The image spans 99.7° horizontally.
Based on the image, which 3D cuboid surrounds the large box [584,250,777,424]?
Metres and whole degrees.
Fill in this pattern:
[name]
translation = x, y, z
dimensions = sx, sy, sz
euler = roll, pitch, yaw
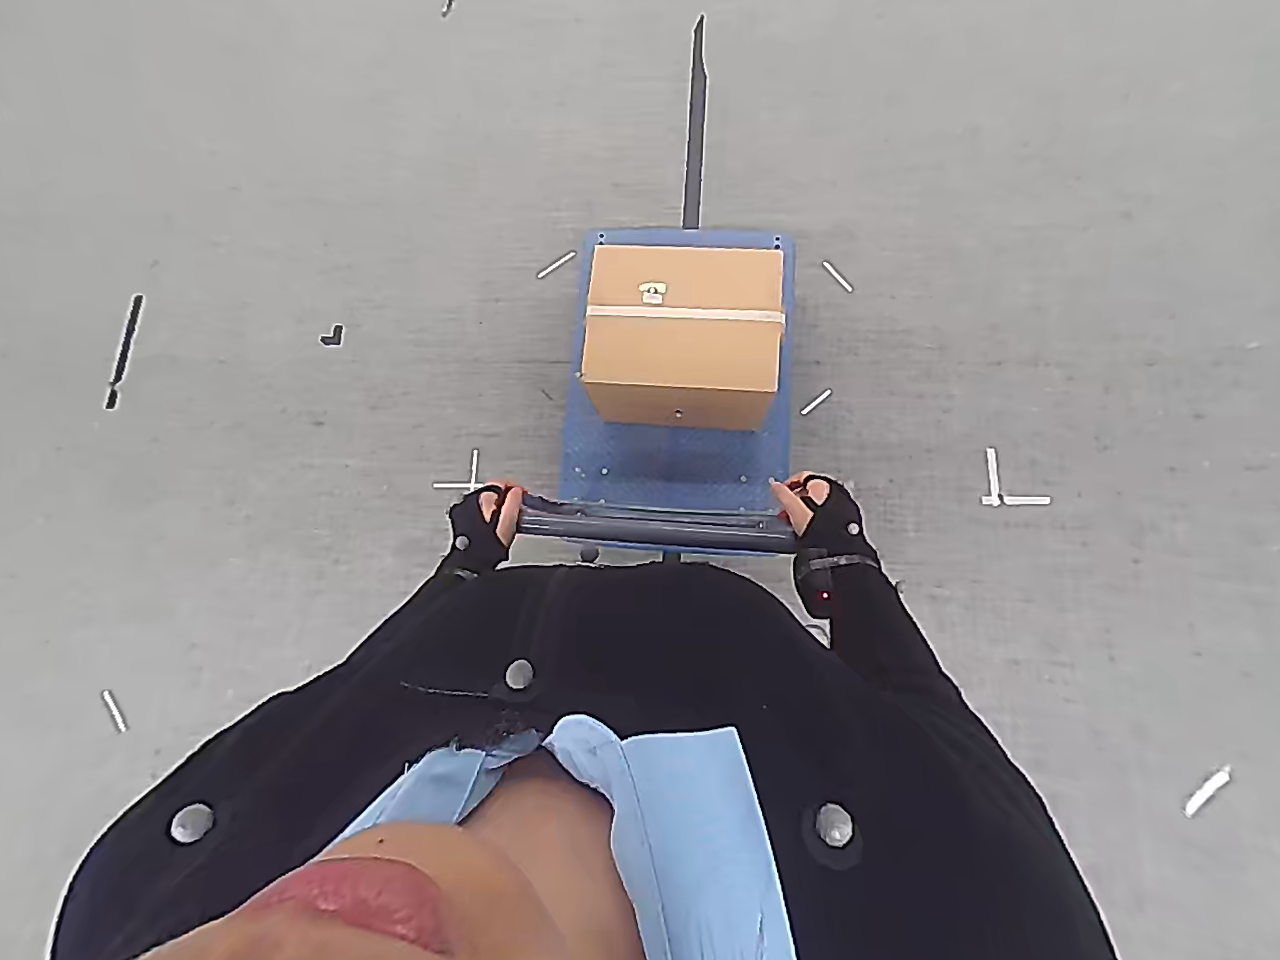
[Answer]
[large box]
translation = 0.104, -0.323, 1.291
dimensions = 0.408, 0.320, 0.320
euler = 4, 80, 7
